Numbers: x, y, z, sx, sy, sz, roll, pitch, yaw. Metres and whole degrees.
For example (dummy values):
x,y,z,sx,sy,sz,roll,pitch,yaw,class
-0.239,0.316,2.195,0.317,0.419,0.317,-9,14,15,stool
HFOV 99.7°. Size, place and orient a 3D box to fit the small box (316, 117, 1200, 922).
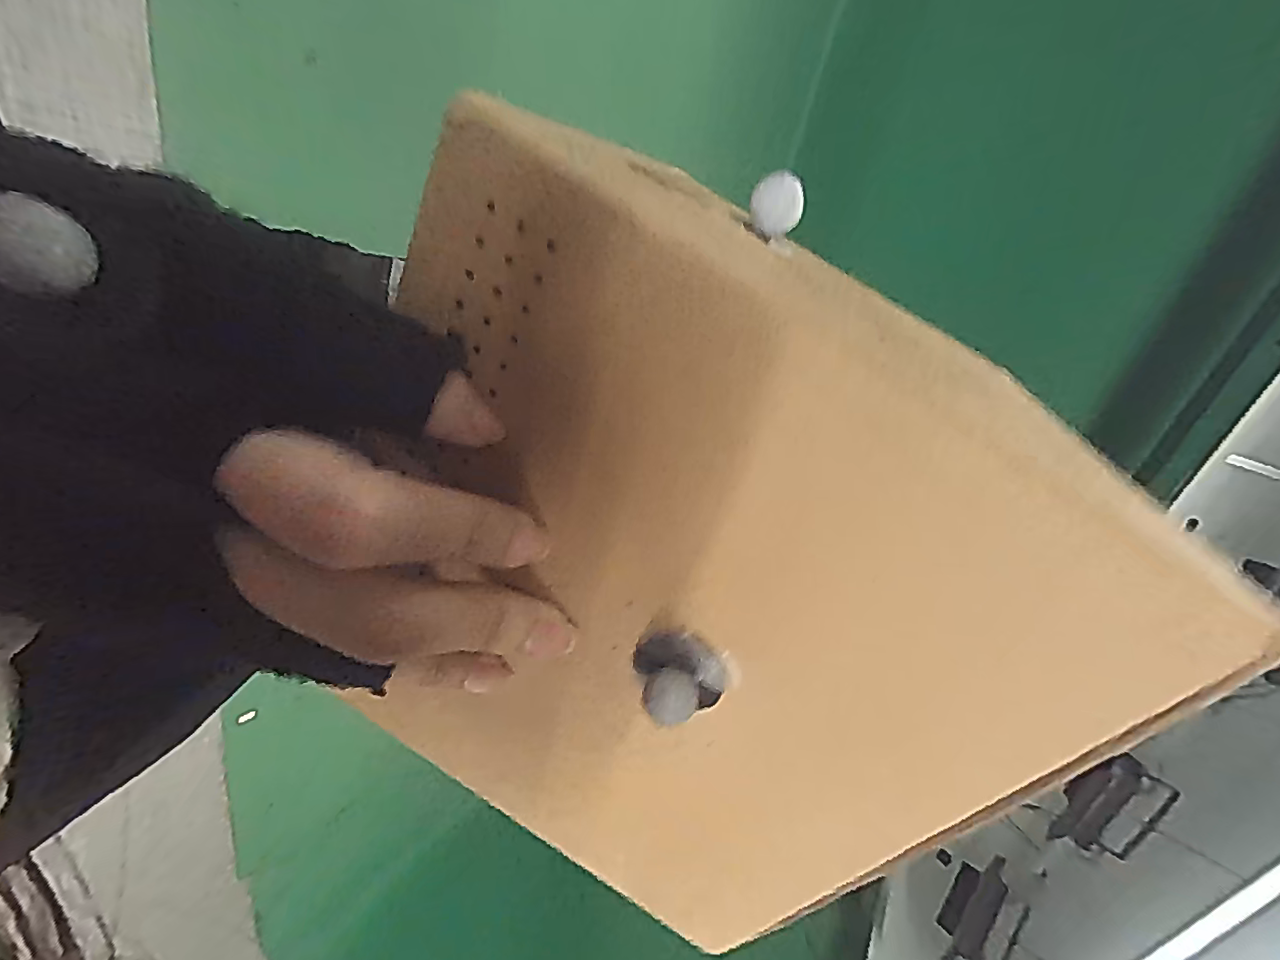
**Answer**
x,y,z,sx,sy,sz,roll,pitch,yaw,class
0.014,0.007,0.207,0.179,0.176,0.168,-60,178,29,small box
